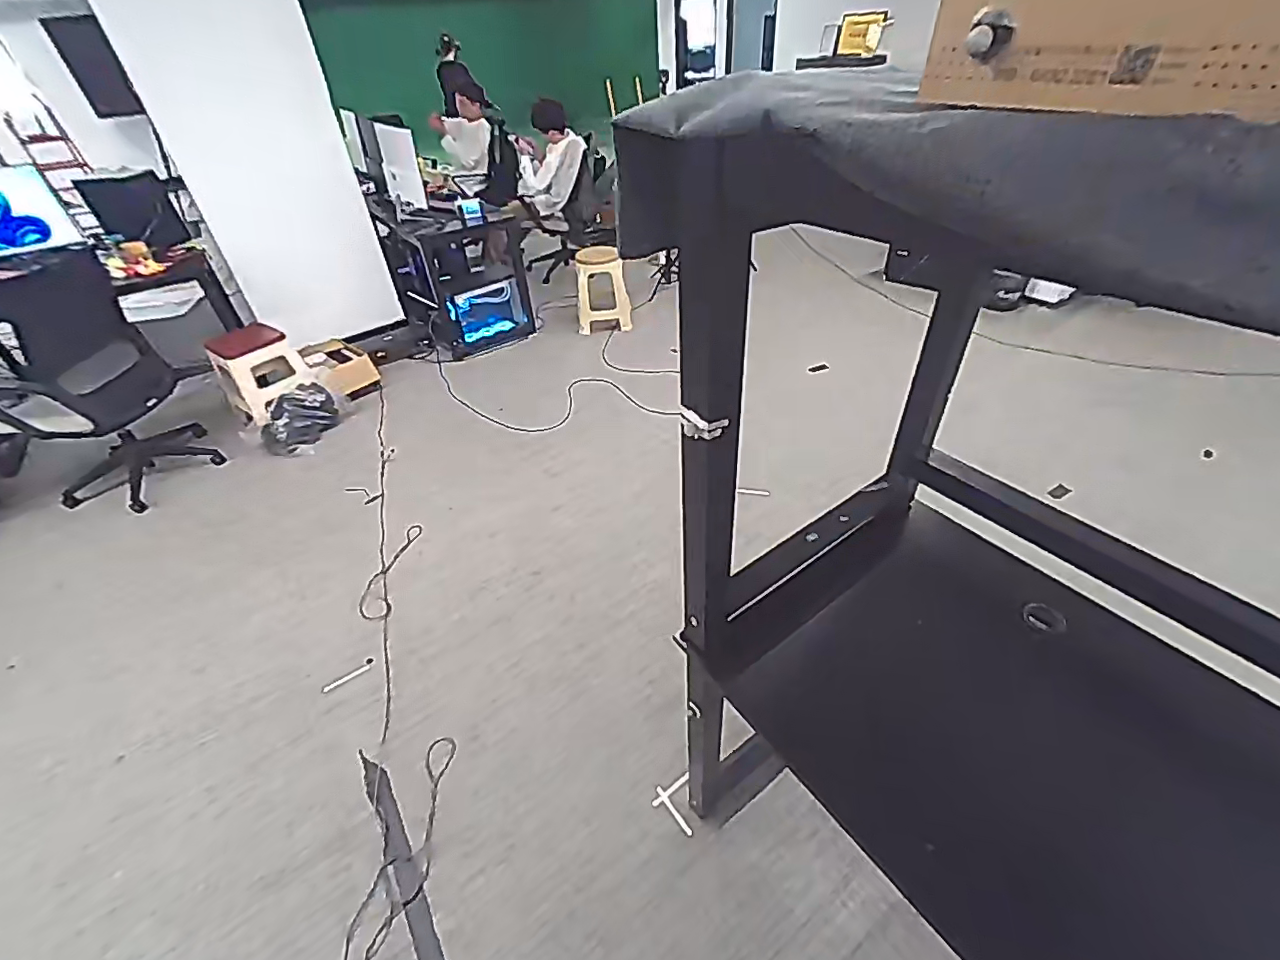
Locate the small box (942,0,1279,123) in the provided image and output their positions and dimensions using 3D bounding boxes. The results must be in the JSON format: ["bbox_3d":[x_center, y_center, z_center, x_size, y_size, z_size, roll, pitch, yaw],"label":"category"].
[{"bbox_3d":[0.280,-0.283,0.263,0.179,0.176,0.168,-27,46,-28],"label":"small box"}]
